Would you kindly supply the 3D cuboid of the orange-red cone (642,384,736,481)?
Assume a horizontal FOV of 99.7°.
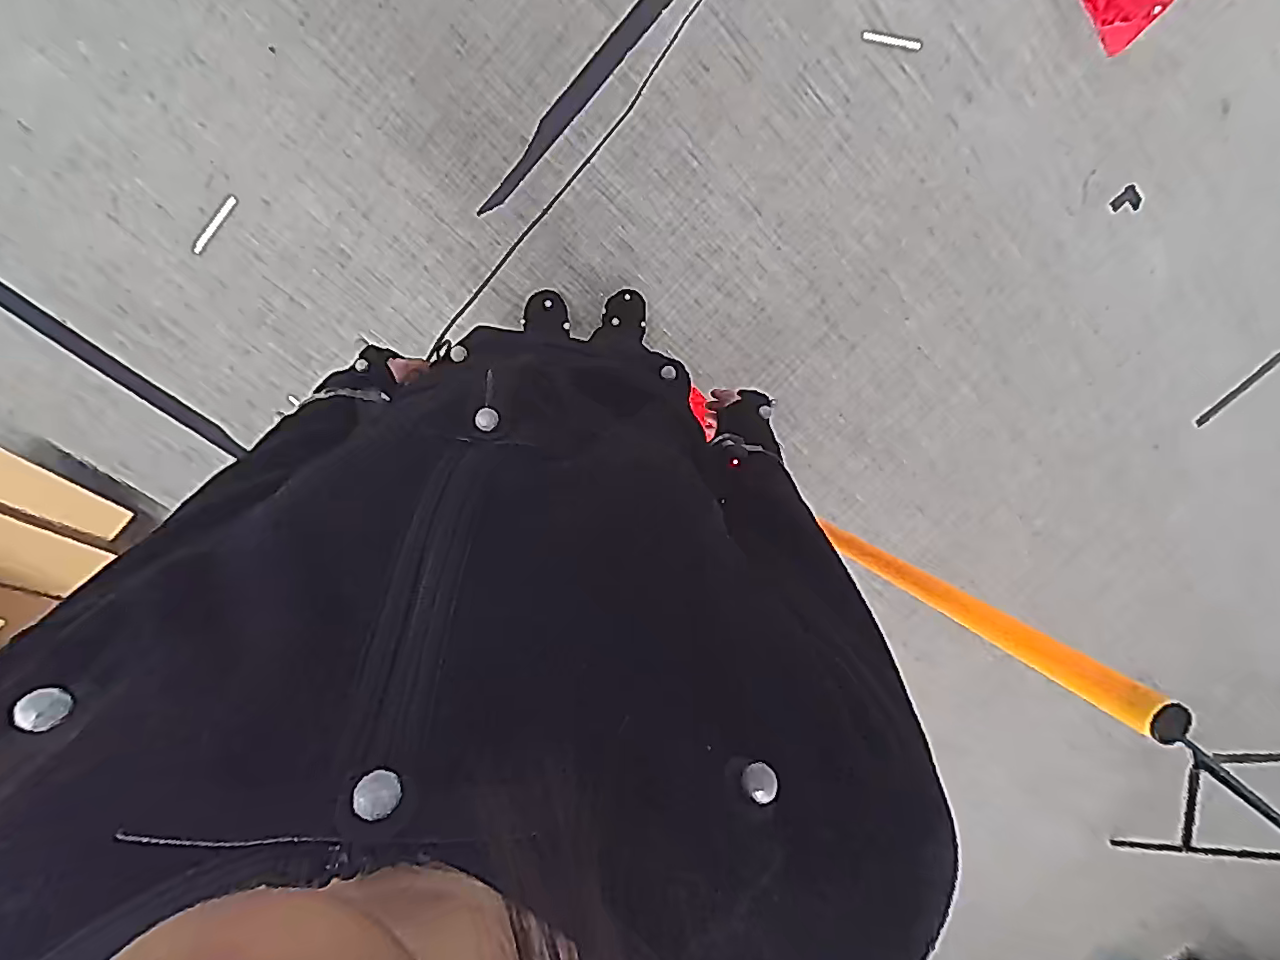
[{"bbox_3d":[0.148,-0.070,1.266,0.199,0.360,0.198,-42,108,9],"label":"orange-red cone"}]
